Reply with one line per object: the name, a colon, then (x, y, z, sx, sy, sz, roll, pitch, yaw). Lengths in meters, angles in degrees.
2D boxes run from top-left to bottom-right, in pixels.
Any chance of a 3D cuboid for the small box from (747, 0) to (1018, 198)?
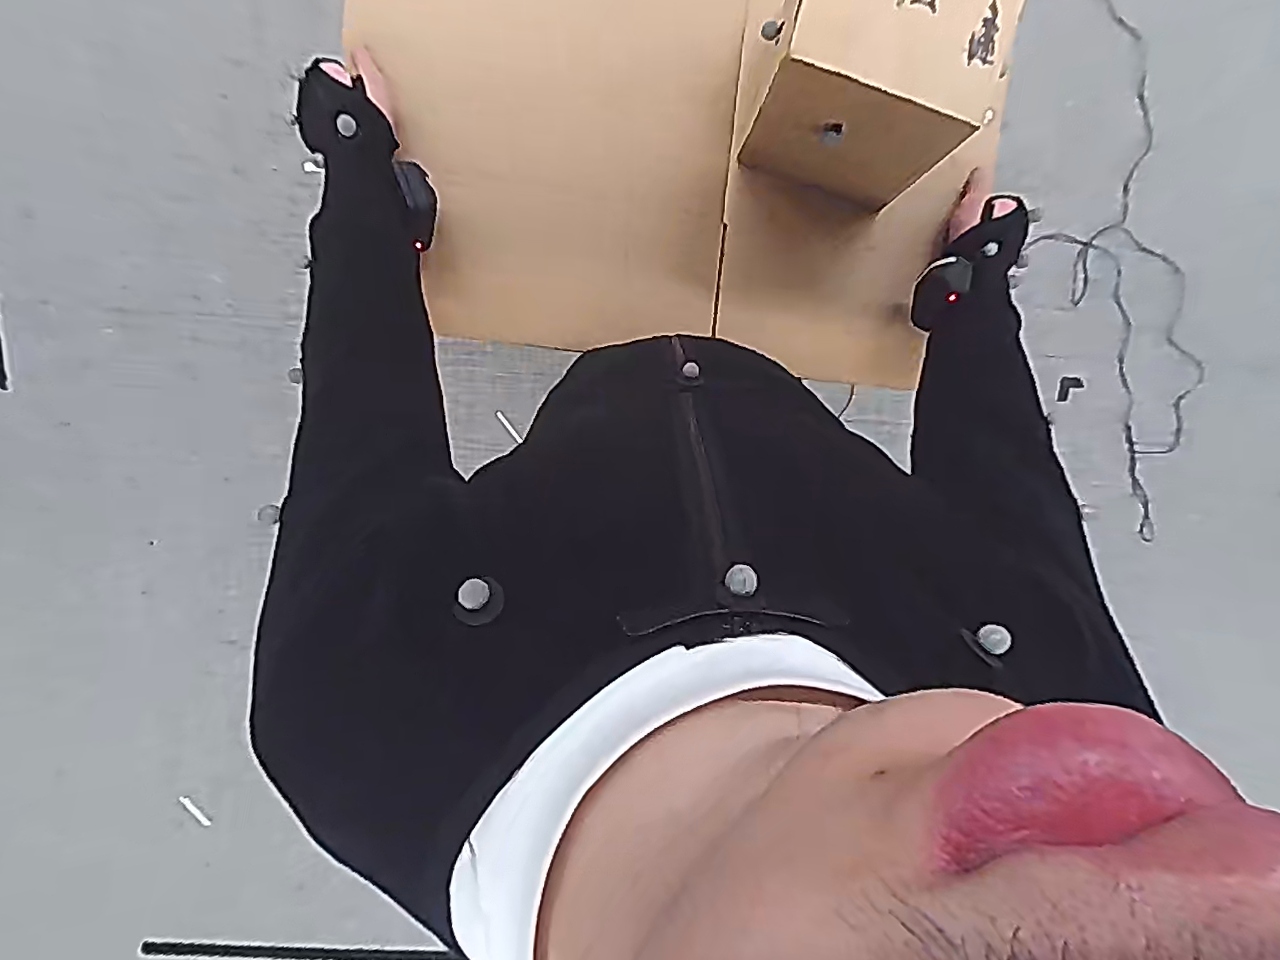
small box: (0.218, -0.403, 0.518, 0.179, 0.176, 0.168, 17, 95, -4)
